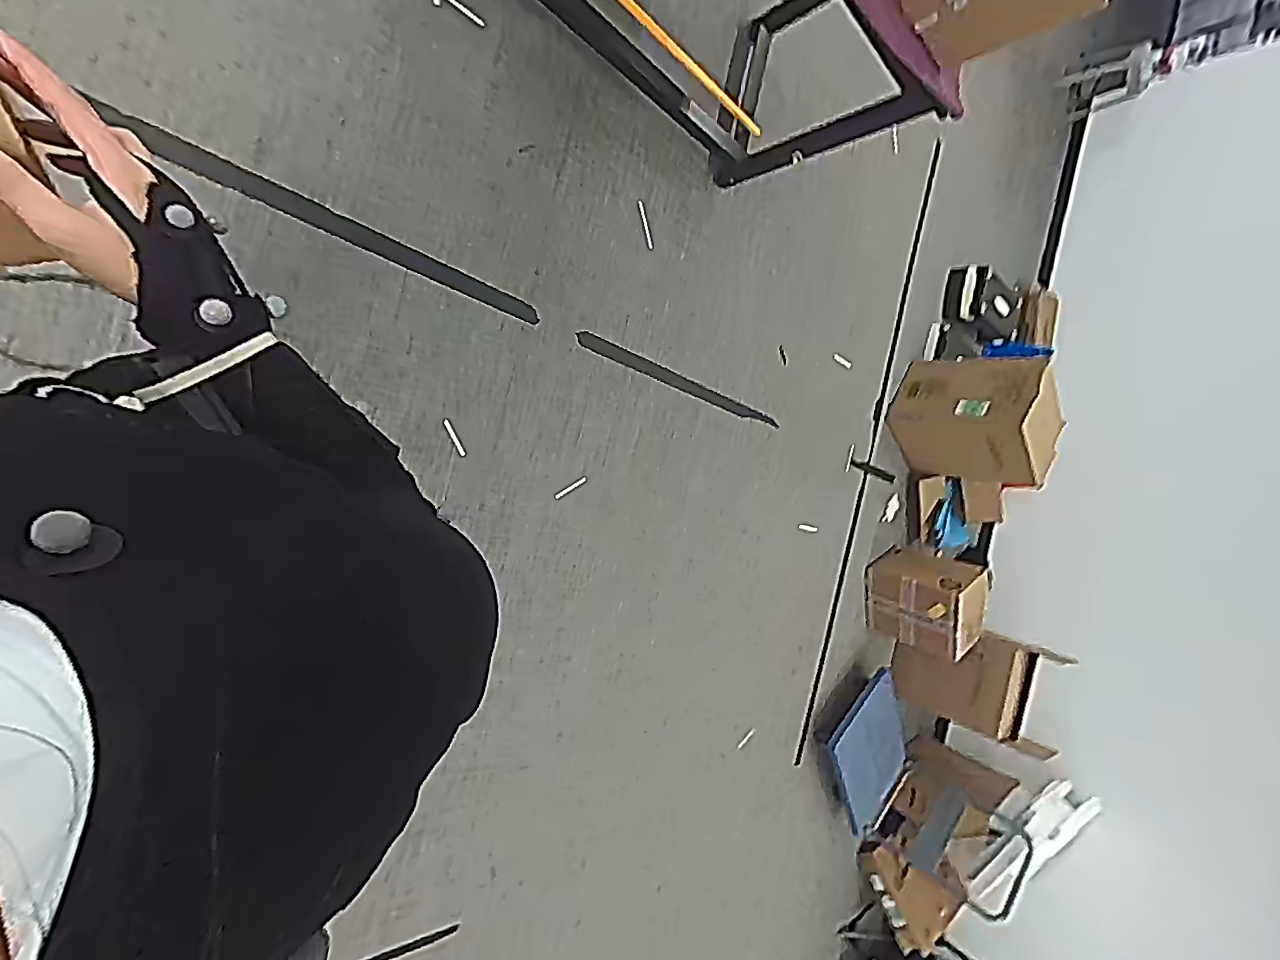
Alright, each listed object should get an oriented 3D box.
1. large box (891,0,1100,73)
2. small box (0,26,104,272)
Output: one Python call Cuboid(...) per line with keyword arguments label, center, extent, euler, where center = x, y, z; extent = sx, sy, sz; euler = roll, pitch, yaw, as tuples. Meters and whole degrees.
Cuboid(label="large box", center=(0.730, -1.161, 1.080), extent=(0.320, 0.320, 0.408), euler=(13, 88, -41))
Cuboid(label="small box", center=(-0.426, -0.211, 0.262), extent=(0.179, 0.176, 0.168), euler=(-25, 146, -35))
